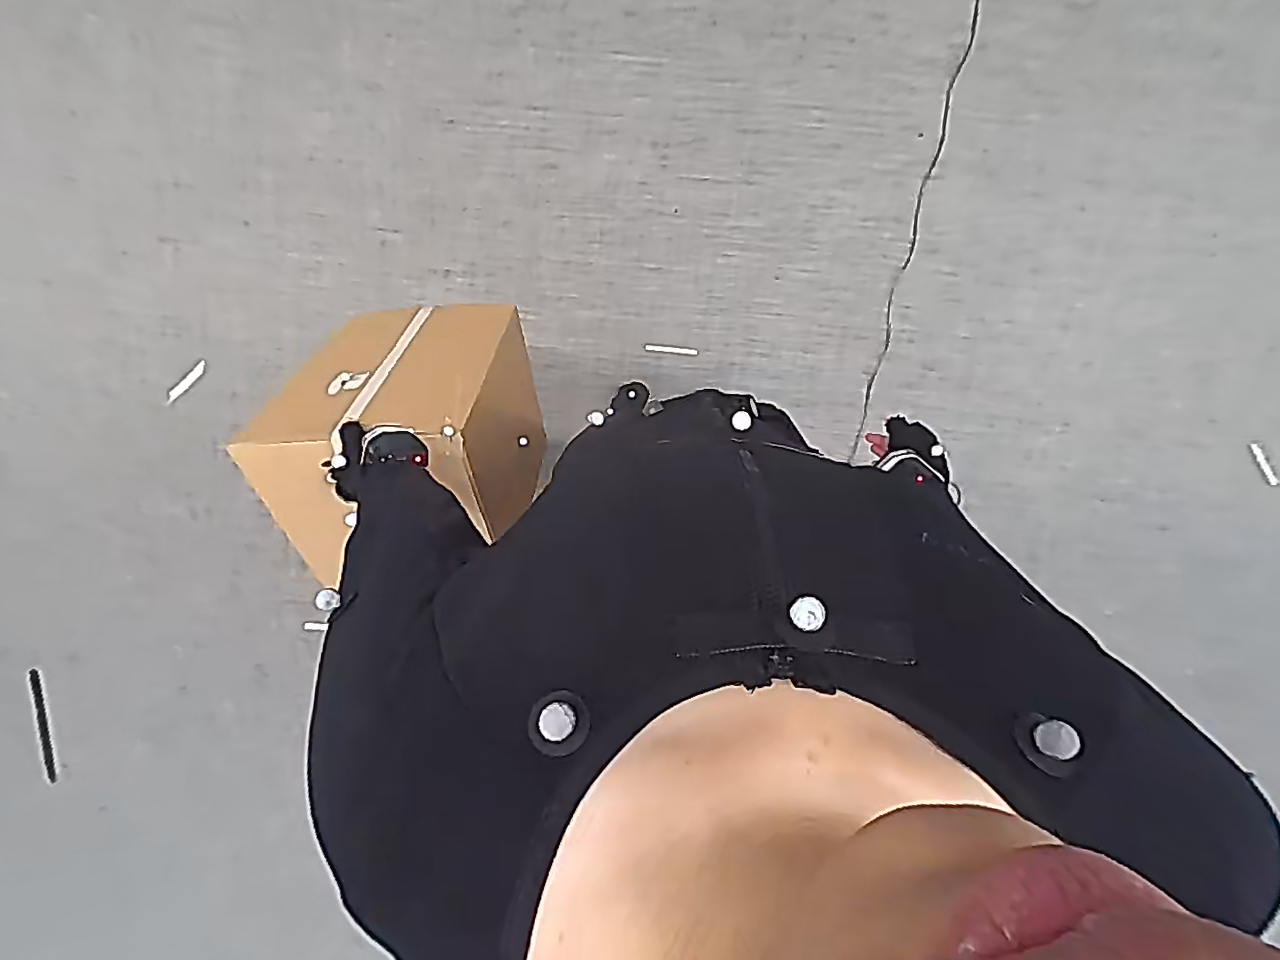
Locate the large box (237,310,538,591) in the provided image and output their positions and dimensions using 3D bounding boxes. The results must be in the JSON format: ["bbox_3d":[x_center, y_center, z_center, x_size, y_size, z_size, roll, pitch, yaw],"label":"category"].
[{"bbox_3d":[-0.375,-0.062,0.949,0.320,0.408,0.320,-4,132,3],"label":"large box"}]
